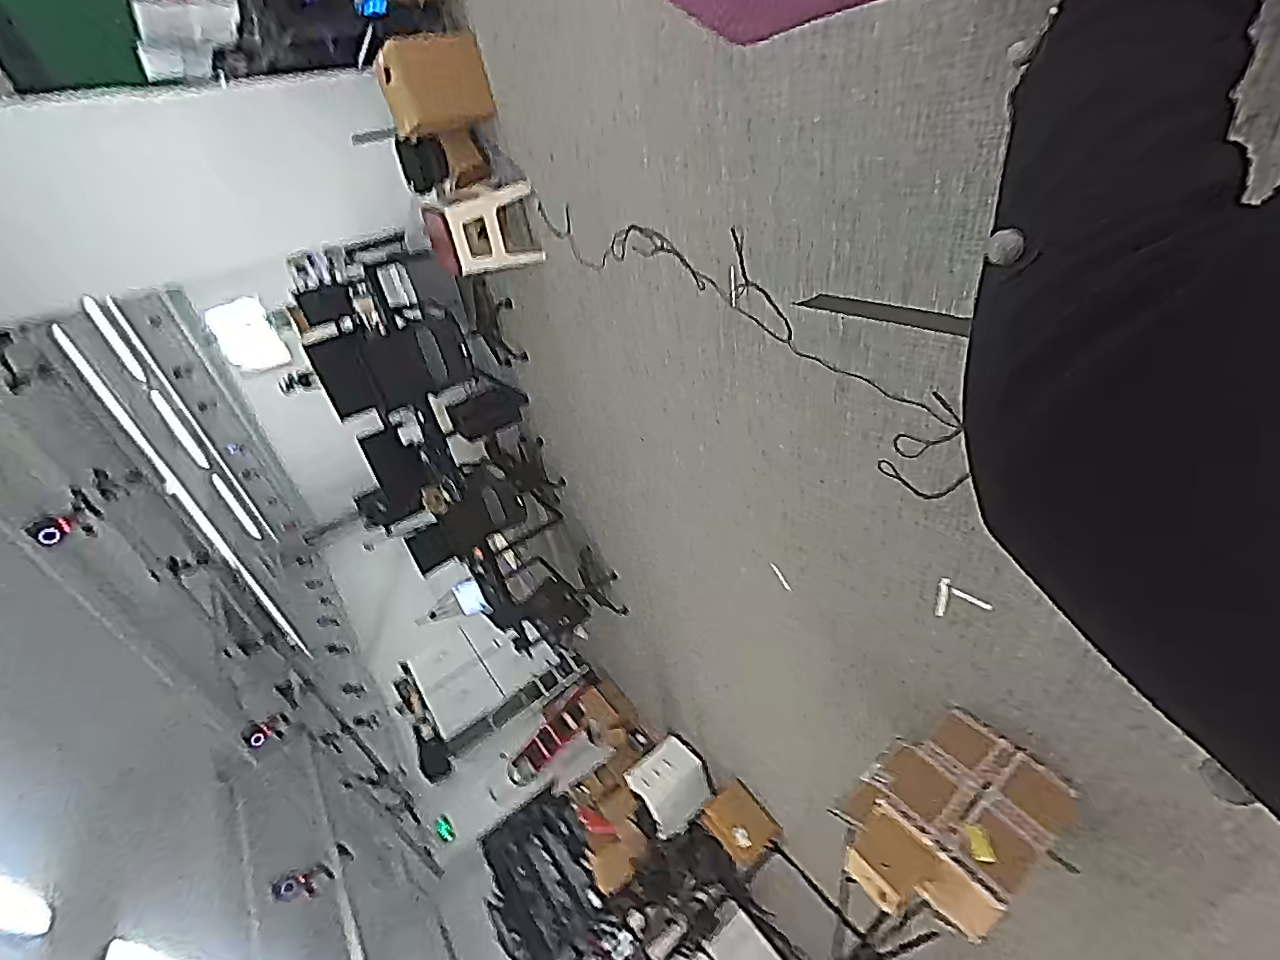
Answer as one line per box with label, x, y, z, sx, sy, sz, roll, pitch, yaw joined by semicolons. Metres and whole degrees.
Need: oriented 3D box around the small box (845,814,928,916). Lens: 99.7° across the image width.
small box;0.793;1.232;1.740;0.179;0.176;0.168;34;142;47
